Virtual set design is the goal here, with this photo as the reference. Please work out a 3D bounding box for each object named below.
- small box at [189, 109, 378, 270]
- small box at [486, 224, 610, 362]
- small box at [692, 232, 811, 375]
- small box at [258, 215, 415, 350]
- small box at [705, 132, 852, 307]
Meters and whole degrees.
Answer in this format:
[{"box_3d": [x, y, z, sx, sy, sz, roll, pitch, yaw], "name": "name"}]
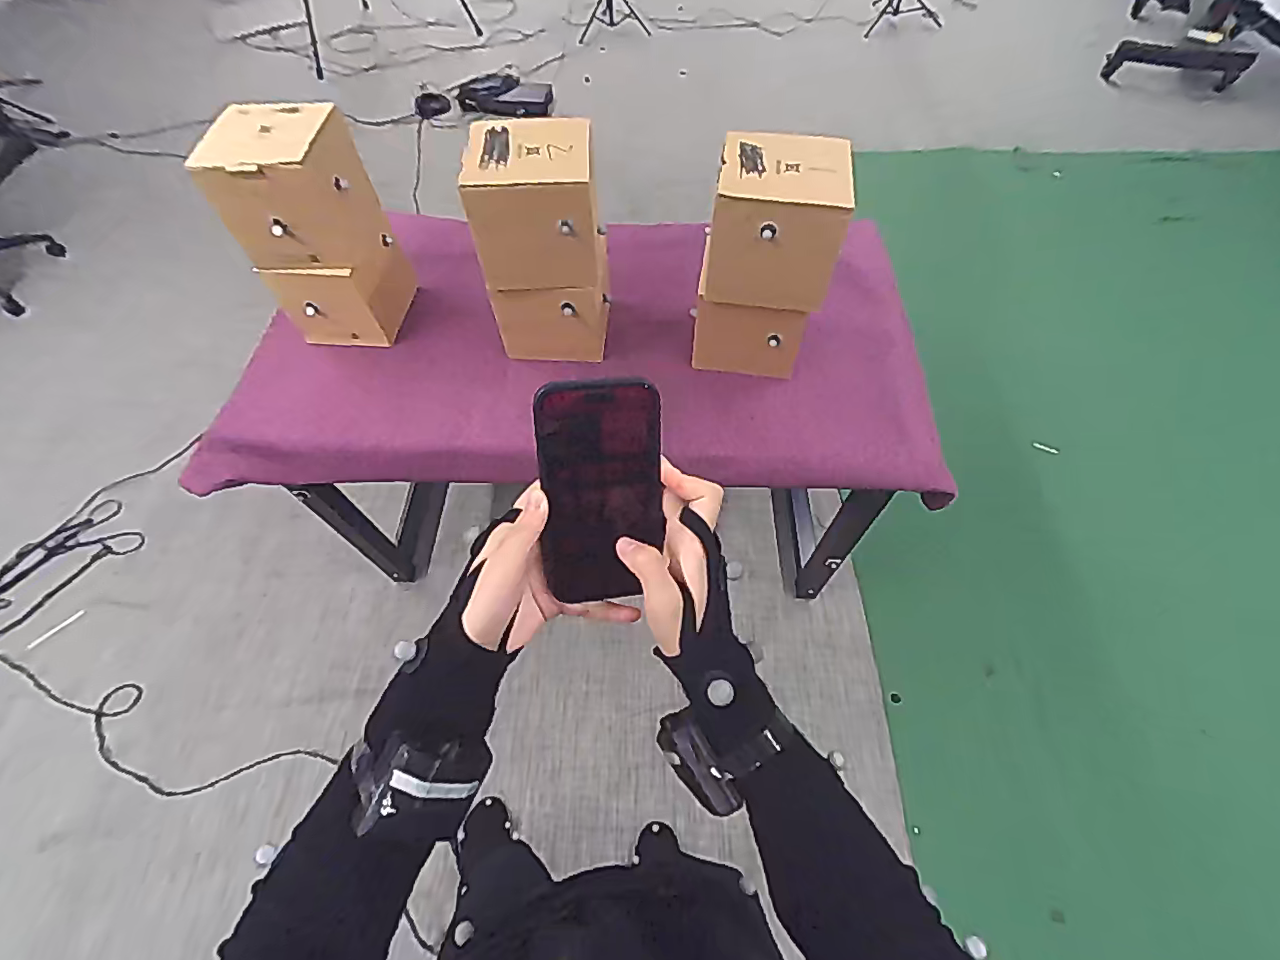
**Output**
[{"box_3d": [-0.542, -0.451, 0.856, 0.168, 0.176, 0.179, -1, 59, 0], "name": "small box"}, {"box_3d": [-0.150, -0.326, 0.957, 0.179, 0.176, 0.168, 2, 58, 3], "name": "small box"}, {"box_3d": [0.189, -0.300, 0.933, 0.179, 0.176, 0.168, 7, 58, 7], "name": "small box"}, {"box_3d": [-0.538, -0.358, 0.991, 0.168, 0.176, 0.179, 3, 58, 4], "name": "small box"}, {"box_3d": [0.192, -0.373, 0.785, 0.179, 0.176, 0.168, 7, 58, 6], "name": "small box"}]
